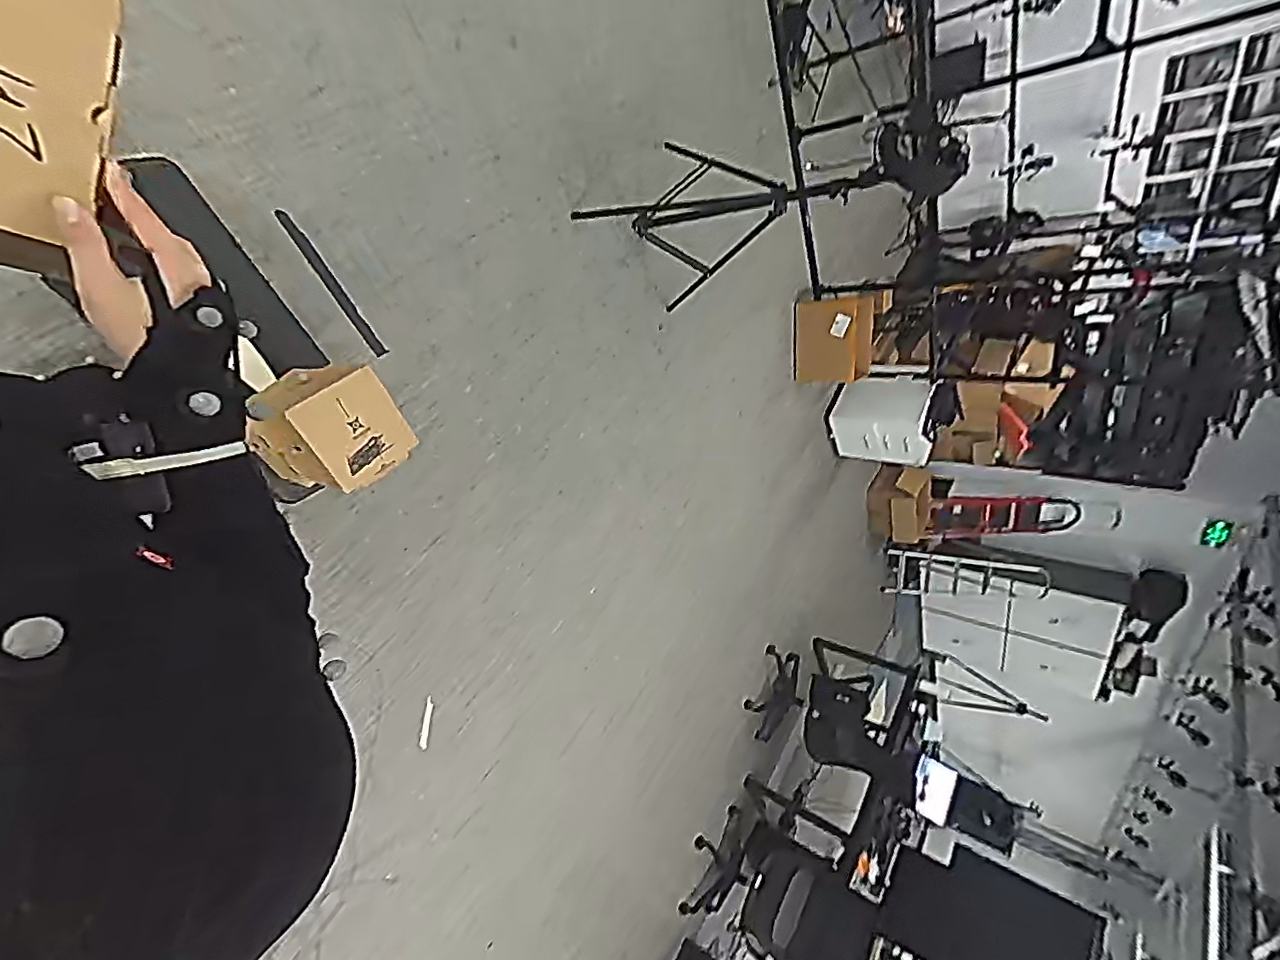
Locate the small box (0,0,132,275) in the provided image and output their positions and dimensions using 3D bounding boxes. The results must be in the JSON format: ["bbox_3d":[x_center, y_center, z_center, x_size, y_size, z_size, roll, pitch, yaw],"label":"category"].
[{"bbox_3d":[-0.436,-0.234,0.317,0.179,0.176,0.168,8,93,-49],"label":"small box"}]

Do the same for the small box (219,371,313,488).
[{"bbox_3d":[-0.706,-0.111,1.108,0.179,0.176,0.168,-51,134,-30],"label":"small box"}]

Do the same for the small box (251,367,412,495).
[{"bbox_3d":[-0.573,-0.099,1.010,0.168,0.176,0.179,-46,130,-34],"label":"small box"}]
